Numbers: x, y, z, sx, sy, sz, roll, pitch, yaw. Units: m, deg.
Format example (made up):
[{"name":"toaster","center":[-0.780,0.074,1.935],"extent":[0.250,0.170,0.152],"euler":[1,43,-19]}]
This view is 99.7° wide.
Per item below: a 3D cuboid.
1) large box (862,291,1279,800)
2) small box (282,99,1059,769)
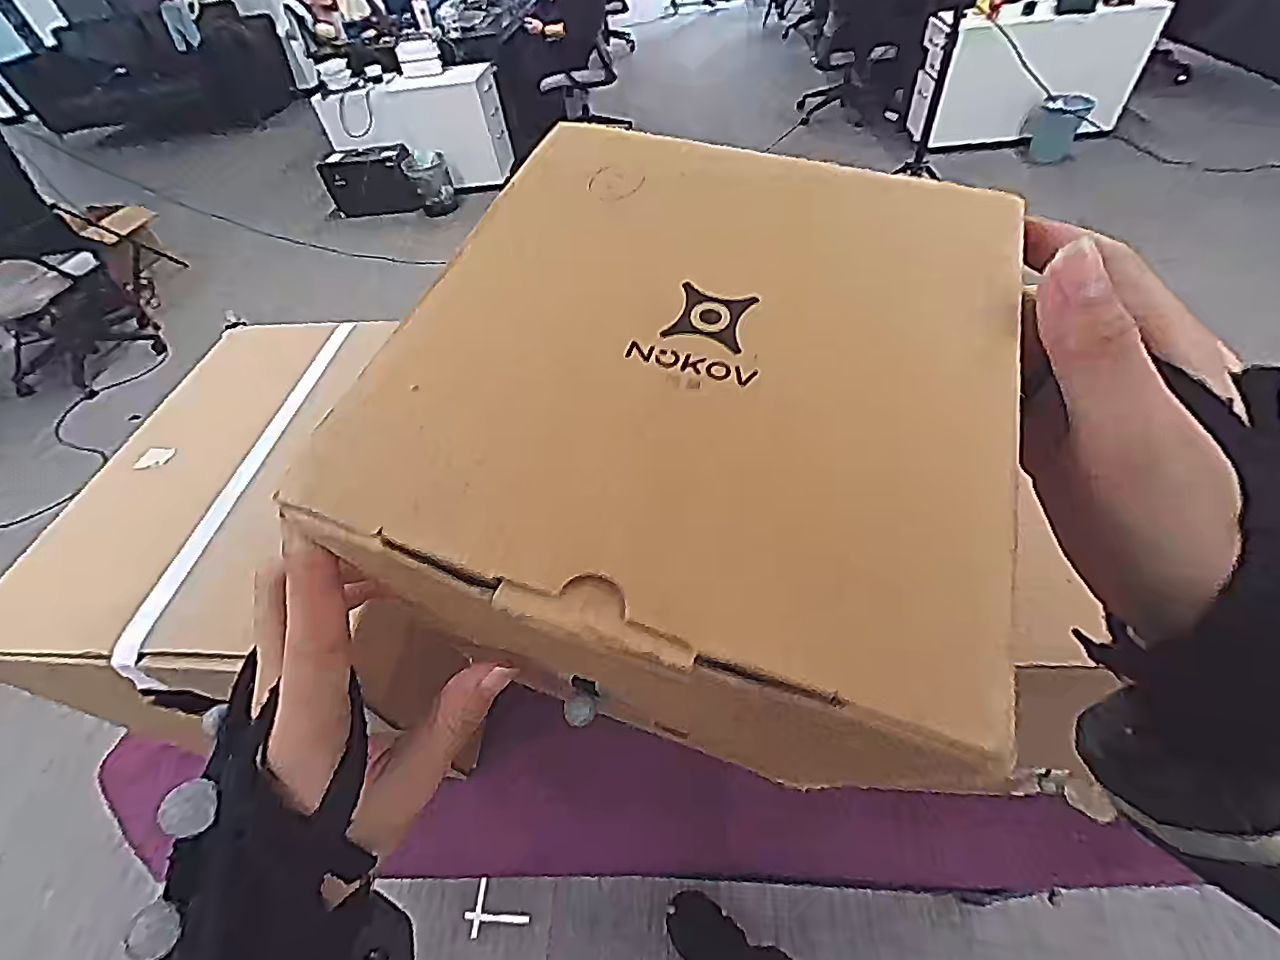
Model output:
[{"name":"large box","center":[0.365,0.062,0.541],"extent":[0.320,0.320,0.408],"euler":[-1,48,6]},{"name":"small box","center":[0.023,-0.007,0.215],"extent":[0.168,0.176,0.179],"euler":[16,62,10]}]
